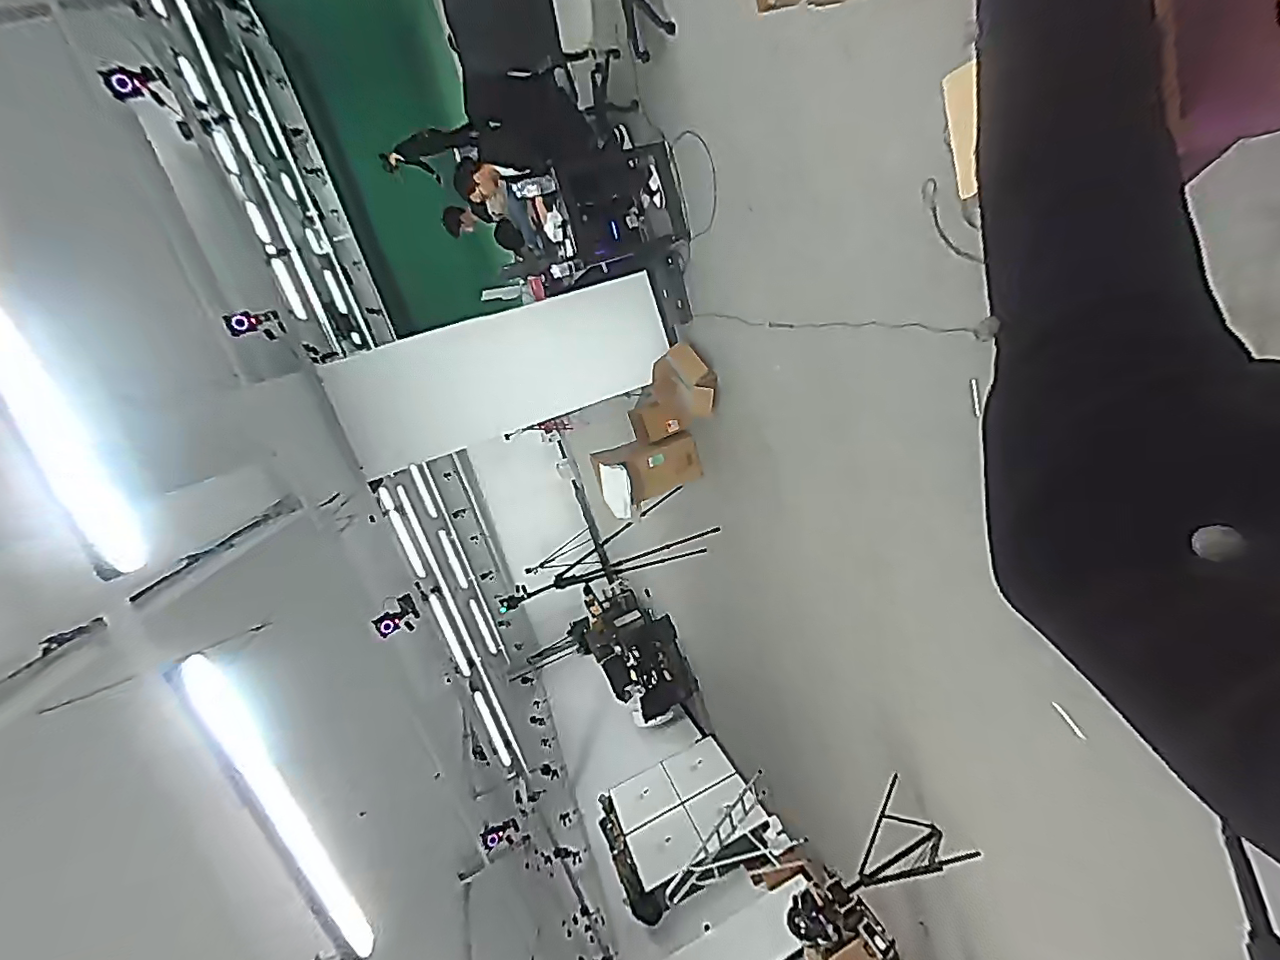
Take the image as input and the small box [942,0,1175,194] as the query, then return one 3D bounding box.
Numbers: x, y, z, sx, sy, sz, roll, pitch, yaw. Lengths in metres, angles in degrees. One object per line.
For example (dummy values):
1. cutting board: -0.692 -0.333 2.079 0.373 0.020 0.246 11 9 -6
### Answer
1. small box: 0.544 -0.508 0.715 0.179 0.176 0.168 23 133 70
